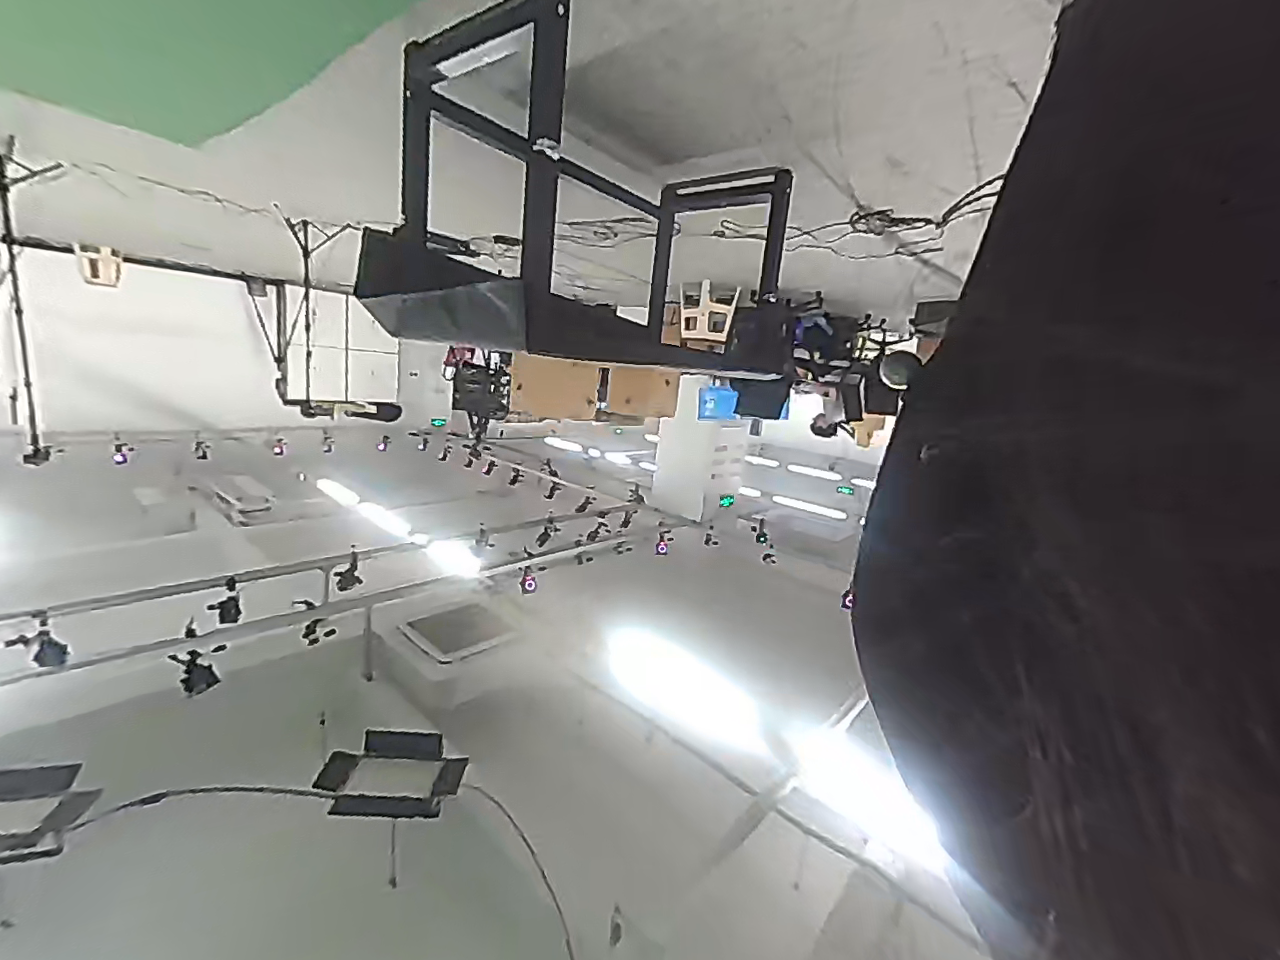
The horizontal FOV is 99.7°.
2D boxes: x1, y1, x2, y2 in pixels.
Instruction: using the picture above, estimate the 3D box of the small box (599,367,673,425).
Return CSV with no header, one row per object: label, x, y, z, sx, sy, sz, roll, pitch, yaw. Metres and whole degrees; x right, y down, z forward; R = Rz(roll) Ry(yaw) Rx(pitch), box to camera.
small box,-0.009,-0.276,1.761,0.179,0.176,0.168,14,-167,36
